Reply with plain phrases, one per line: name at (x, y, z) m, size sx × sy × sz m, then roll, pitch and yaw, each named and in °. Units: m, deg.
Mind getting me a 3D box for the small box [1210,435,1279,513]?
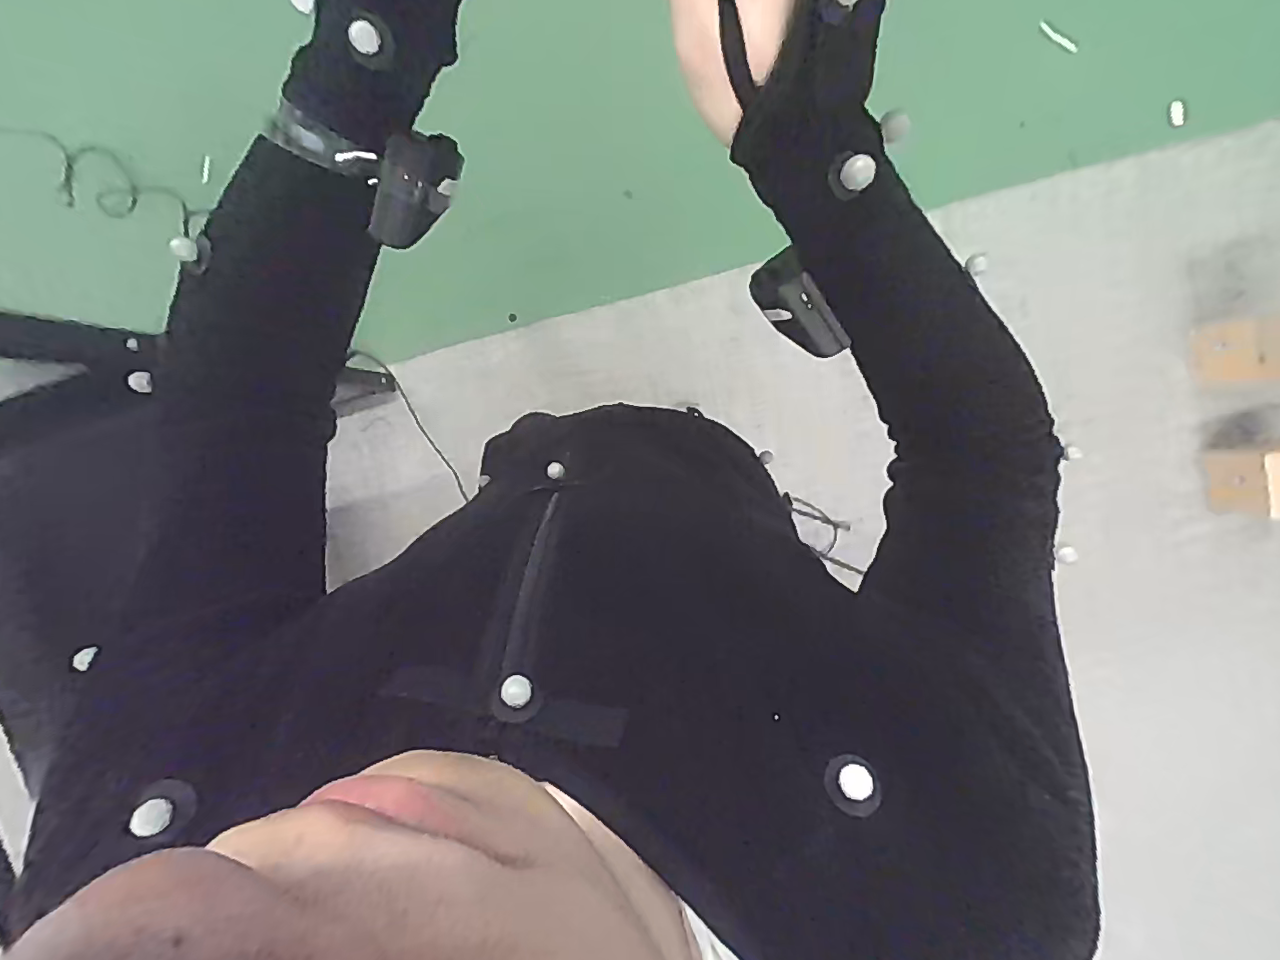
small box at (1.667, -0.020, 1.422) m, size 0.168 × 0.176 × 0.179 m, roll -13°, pitch 95°, yaw 5°
